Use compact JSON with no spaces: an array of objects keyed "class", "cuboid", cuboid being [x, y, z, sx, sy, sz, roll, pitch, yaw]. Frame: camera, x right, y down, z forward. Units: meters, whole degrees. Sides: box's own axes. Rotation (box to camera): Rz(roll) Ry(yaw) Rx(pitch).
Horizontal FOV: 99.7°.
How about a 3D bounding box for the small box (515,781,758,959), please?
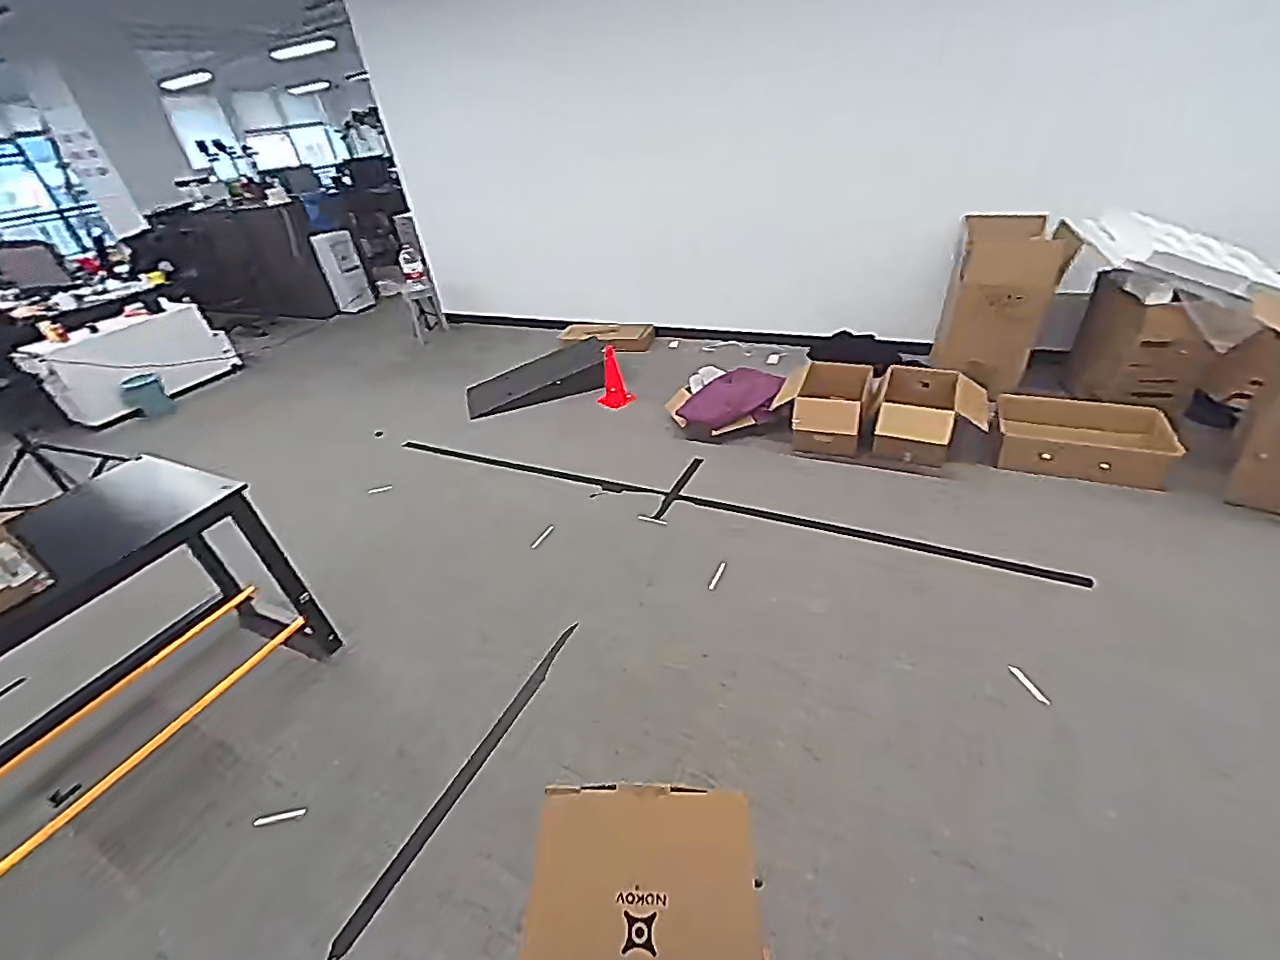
[{"class":"small box","cuboid":[0.001,0.366,0.431,0.168,0.176,0.179,-1,43,4]}]
